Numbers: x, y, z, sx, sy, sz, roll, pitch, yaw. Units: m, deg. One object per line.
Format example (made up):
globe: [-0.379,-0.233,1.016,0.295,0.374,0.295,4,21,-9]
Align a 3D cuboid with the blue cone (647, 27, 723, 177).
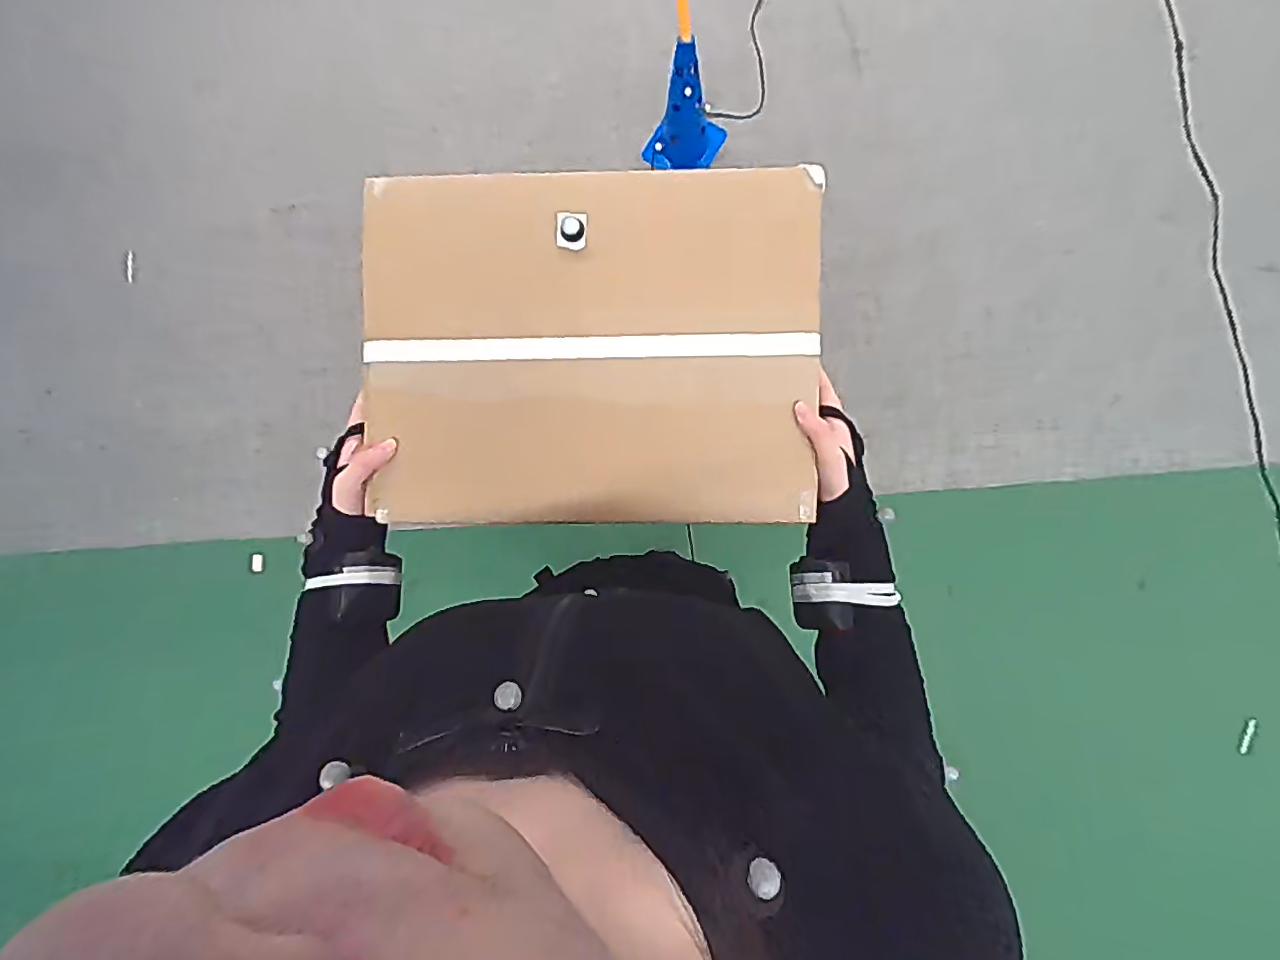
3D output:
blue cone: [0.121,-1.014,1.435,0.192,0.380,0.193,29,88,6]
